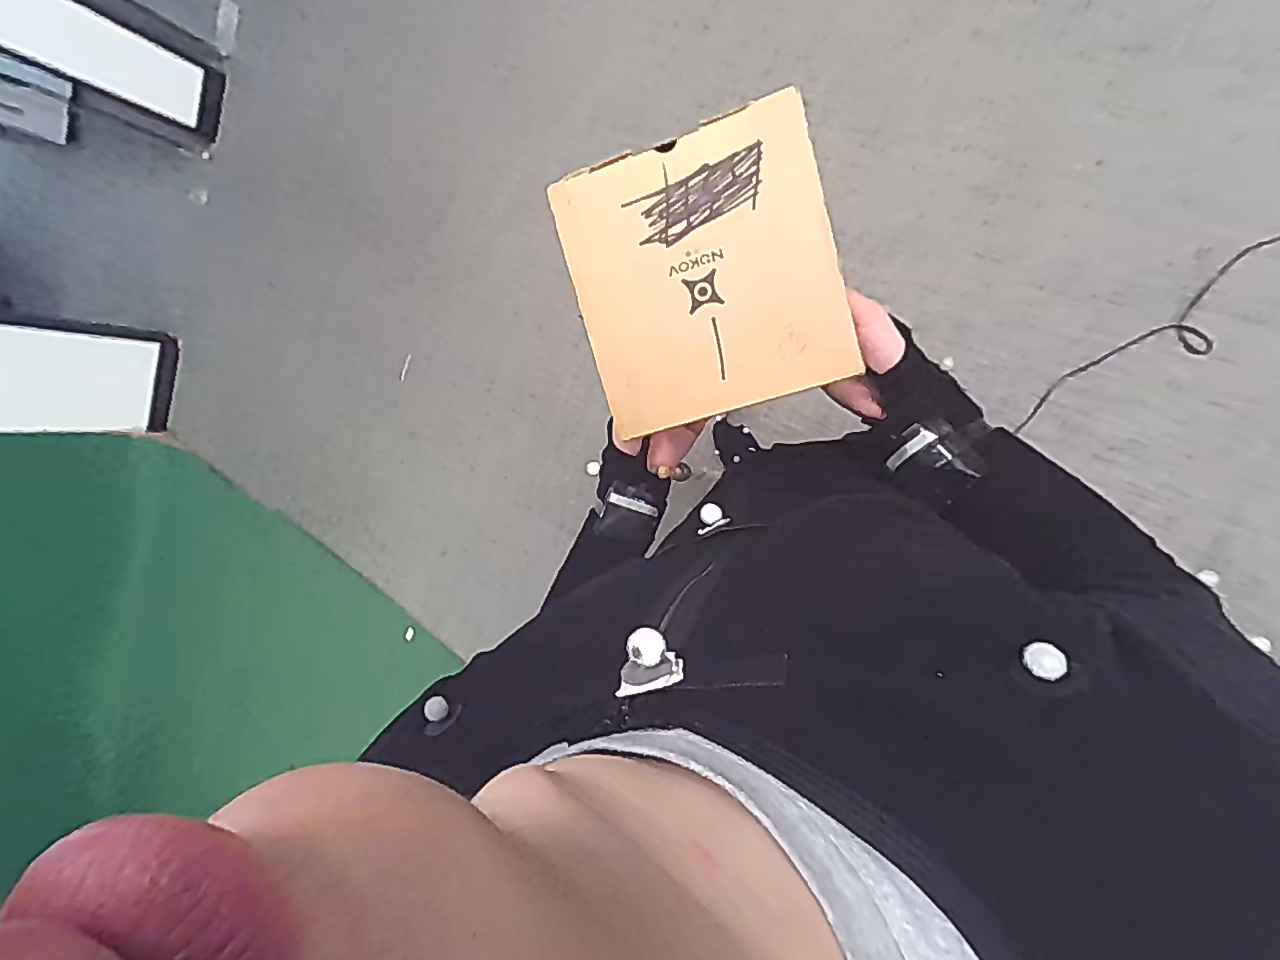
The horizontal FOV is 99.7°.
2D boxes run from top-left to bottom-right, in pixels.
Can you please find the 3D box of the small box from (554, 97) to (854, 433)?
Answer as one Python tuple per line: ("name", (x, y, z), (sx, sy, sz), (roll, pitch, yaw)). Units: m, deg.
("small box", (0.053, -0.145, 0.428), (0.168, 0.176, 0.179), (-13, 98, 13))
